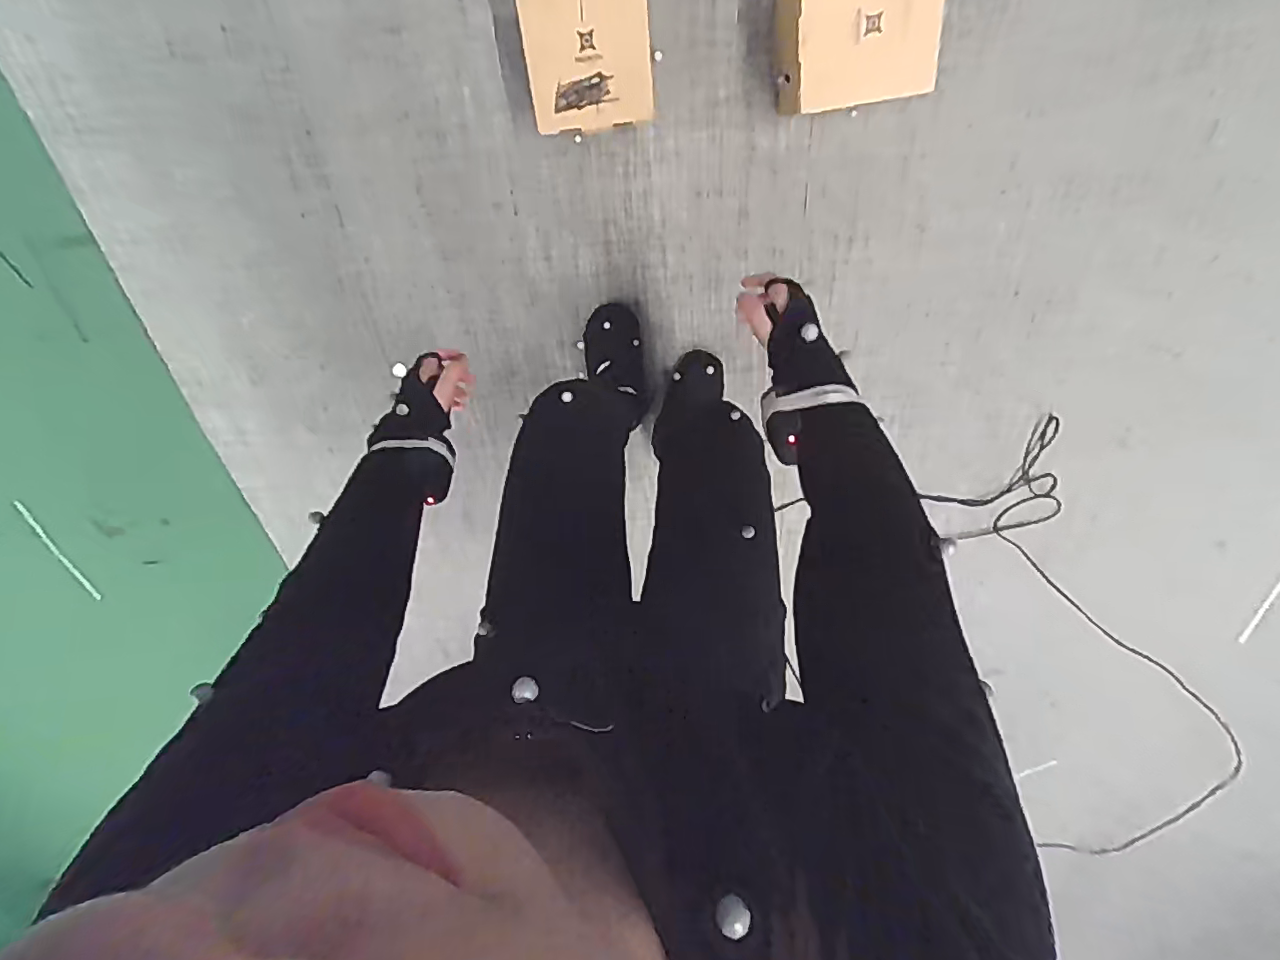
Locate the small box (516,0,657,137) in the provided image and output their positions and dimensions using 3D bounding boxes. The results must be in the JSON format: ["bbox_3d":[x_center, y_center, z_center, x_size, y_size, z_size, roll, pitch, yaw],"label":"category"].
[{"bbox_3d":[-0.065,-0.604,0.774,0.168,0.176,0.179,-2,122,6],"label":"small box"}]

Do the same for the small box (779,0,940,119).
[{"bbox_3d":[0.288,-0.606,0.743,0.179,0.176,0.168,-4,124,8],"label":"small box"}]
